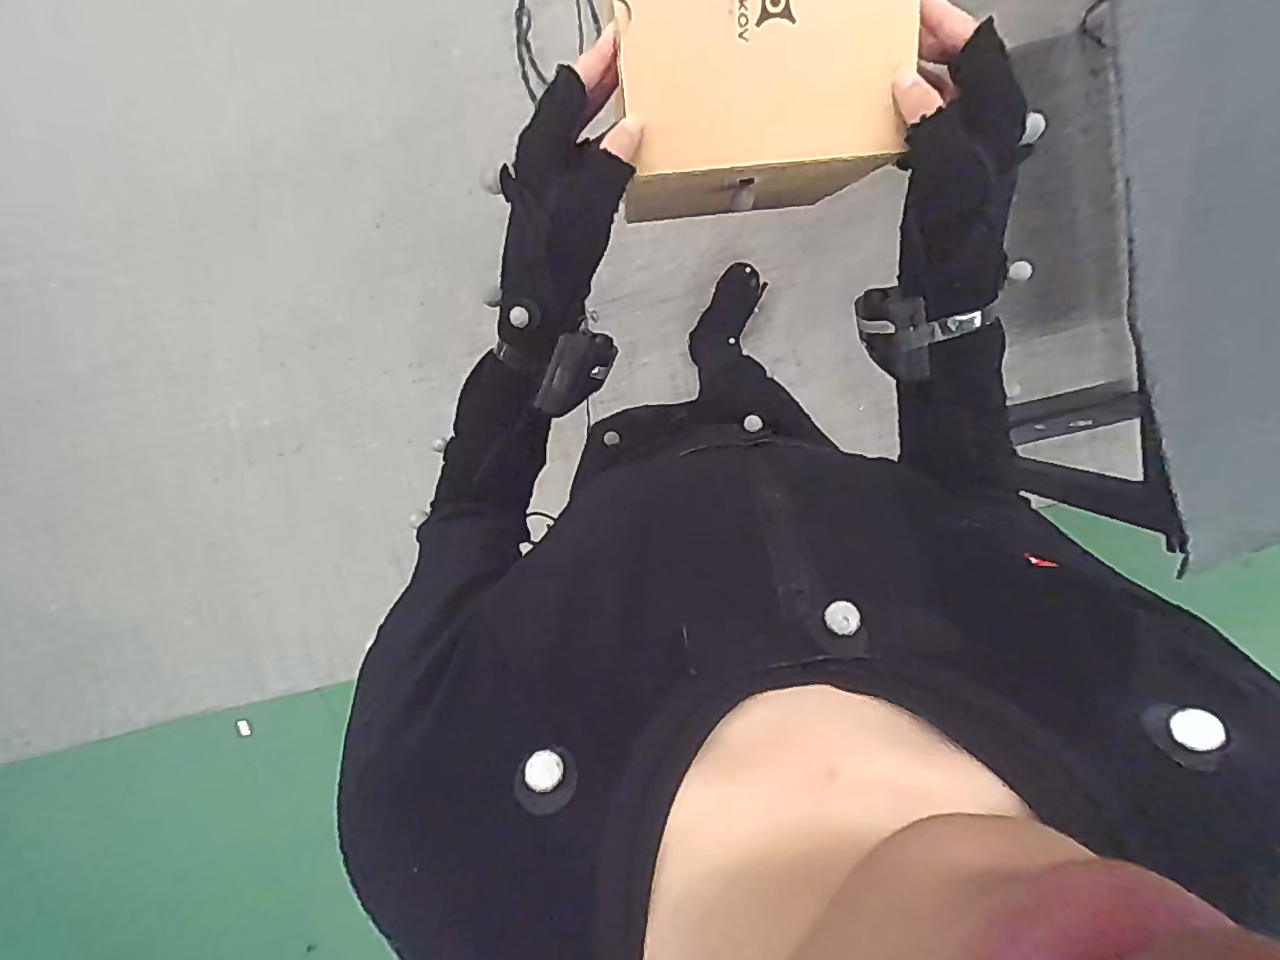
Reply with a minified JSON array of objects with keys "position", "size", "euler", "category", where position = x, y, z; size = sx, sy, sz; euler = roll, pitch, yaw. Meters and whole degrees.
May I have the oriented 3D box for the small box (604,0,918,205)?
[{"position":[0.066,-0.299,0.373],"size":[0.179,0.176,0.168],"euler":[-5,108,1],"category":"small box"}]
